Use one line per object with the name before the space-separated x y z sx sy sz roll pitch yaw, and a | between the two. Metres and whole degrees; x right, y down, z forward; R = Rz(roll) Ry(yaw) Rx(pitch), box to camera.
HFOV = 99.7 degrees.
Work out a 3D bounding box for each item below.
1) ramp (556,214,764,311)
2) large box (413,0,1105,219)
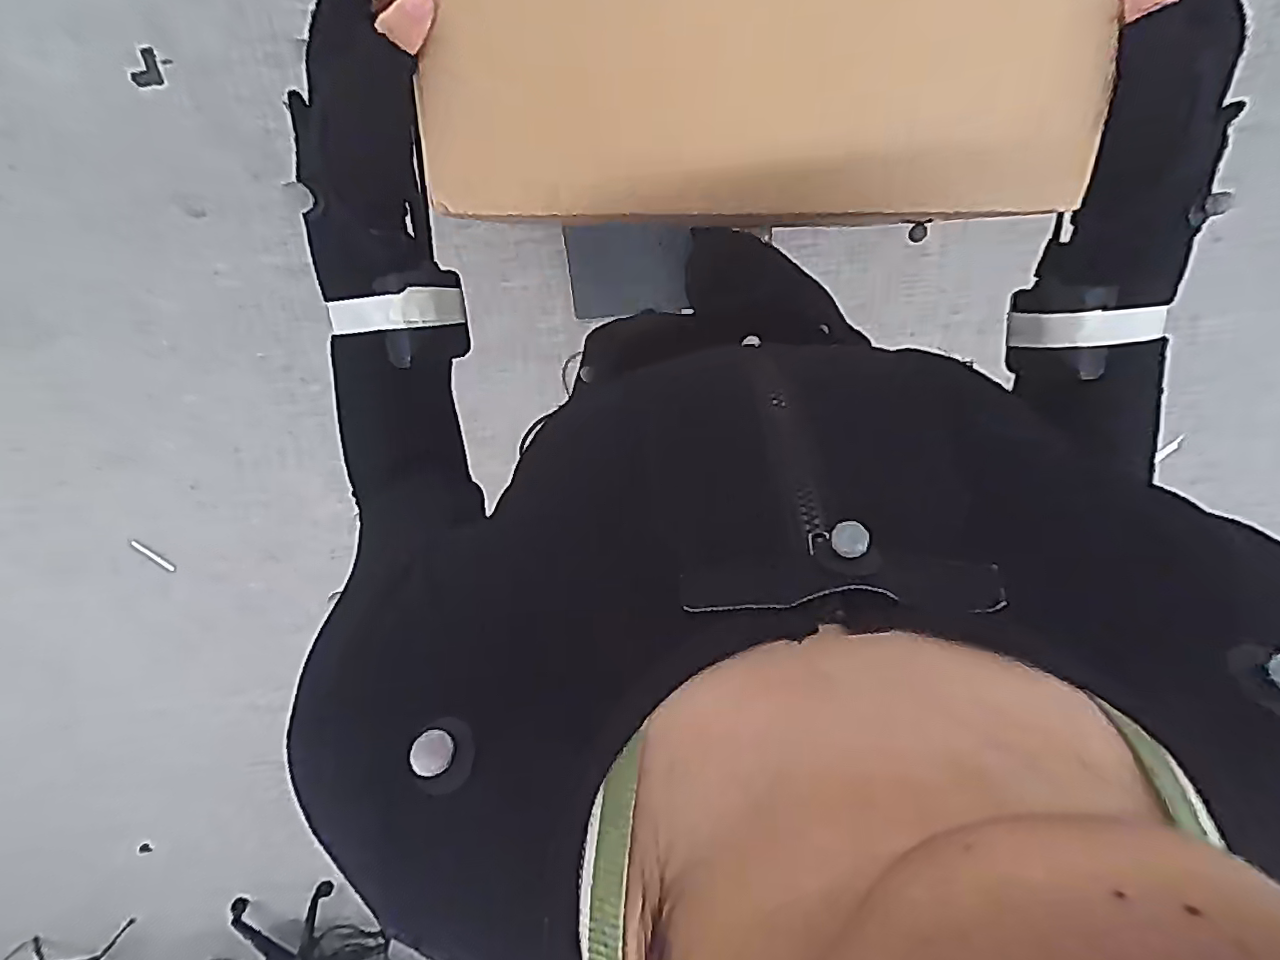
ramp | 0.022 -0.871 1.102 0.509 0.206 0.991 -7 112 1
large box | 0.068 -0.379 0.421 0.408 0.320 0.320 -1 114 -1
